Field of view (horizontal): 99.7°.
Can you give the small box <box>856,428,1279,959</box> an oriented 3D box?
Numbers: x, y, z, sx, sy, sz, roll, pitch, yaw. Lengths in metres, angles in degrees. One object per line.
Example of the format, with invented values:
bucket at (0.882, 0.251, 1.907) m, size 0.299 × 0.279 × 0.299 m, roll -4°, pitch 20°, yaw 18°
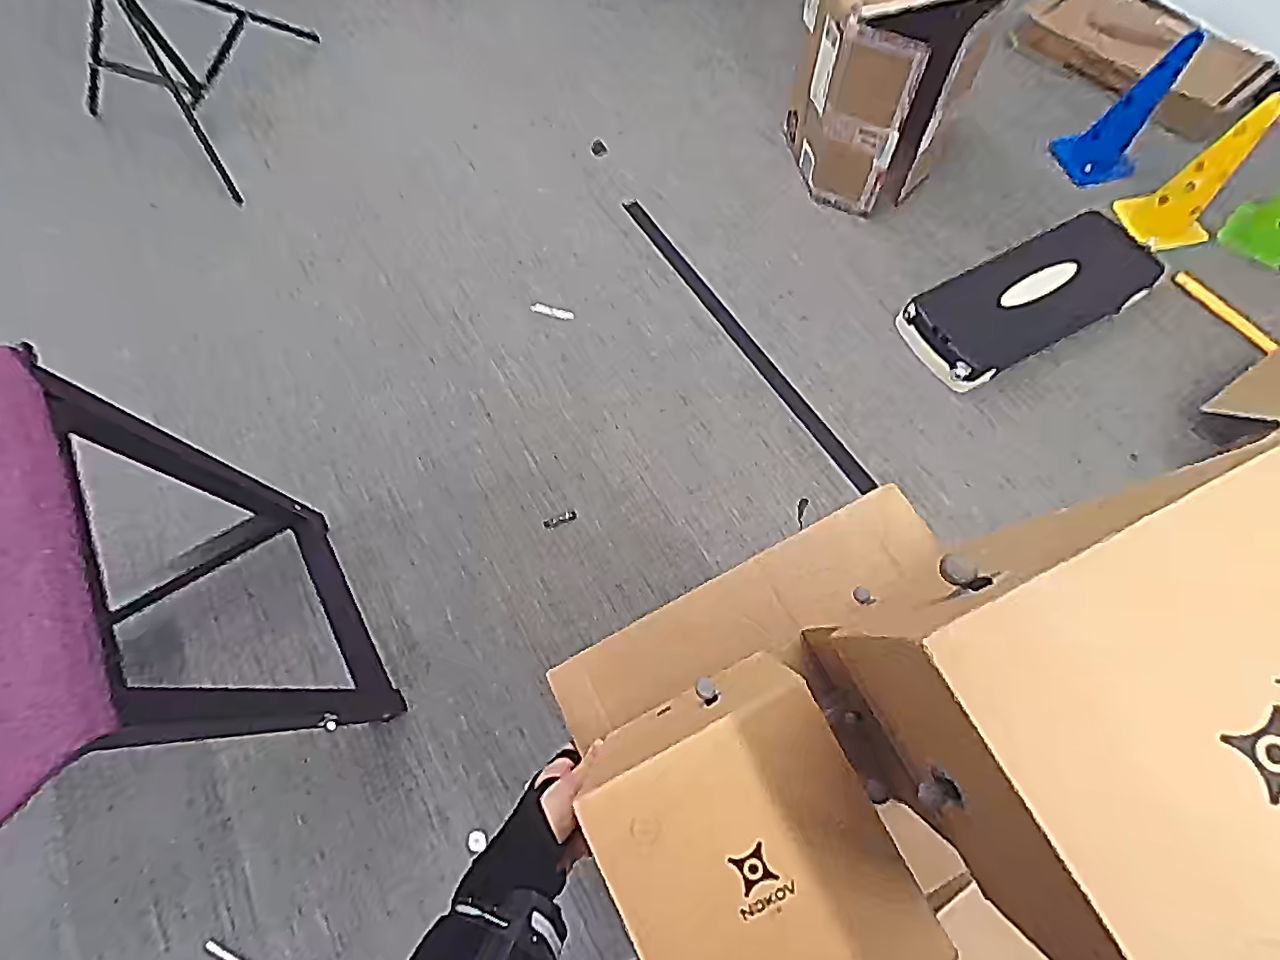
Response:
small box at (0.222, 0.103, 0.247) m, size 0.179 × 0.176 × 0.168 m, roll -27°, pitch 73°, yaw -1°
